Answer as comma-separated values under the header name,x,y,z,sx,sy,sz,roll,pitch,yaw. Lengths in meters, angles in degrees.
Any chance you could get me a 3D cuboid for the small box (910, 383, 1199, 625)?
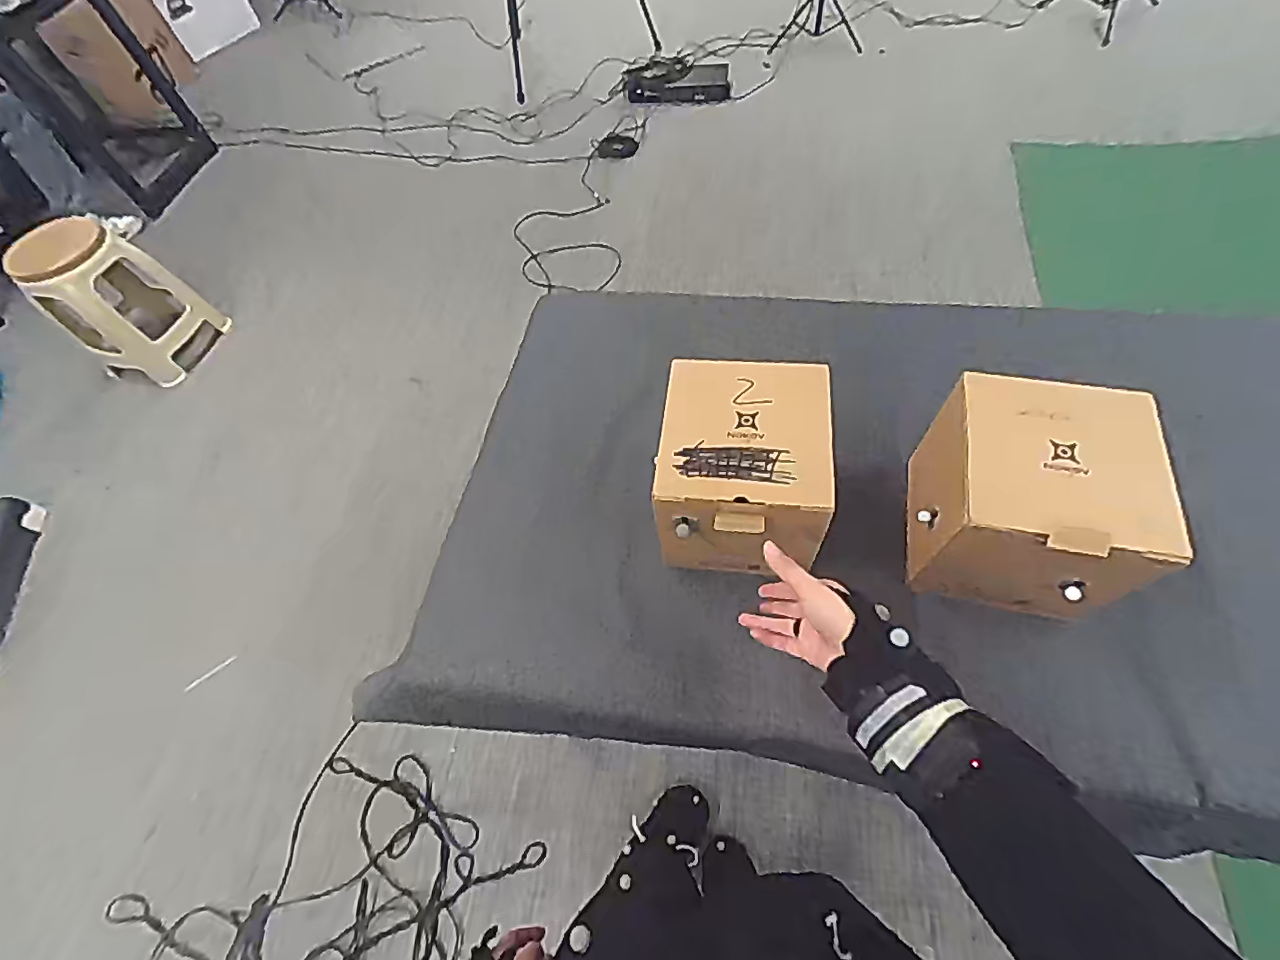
name,x,y,z,sx,sy,sz,roll,pitch,yaw
small box,0.388,0.030,0.548,0.168,0.176,0.179,9,59,12
